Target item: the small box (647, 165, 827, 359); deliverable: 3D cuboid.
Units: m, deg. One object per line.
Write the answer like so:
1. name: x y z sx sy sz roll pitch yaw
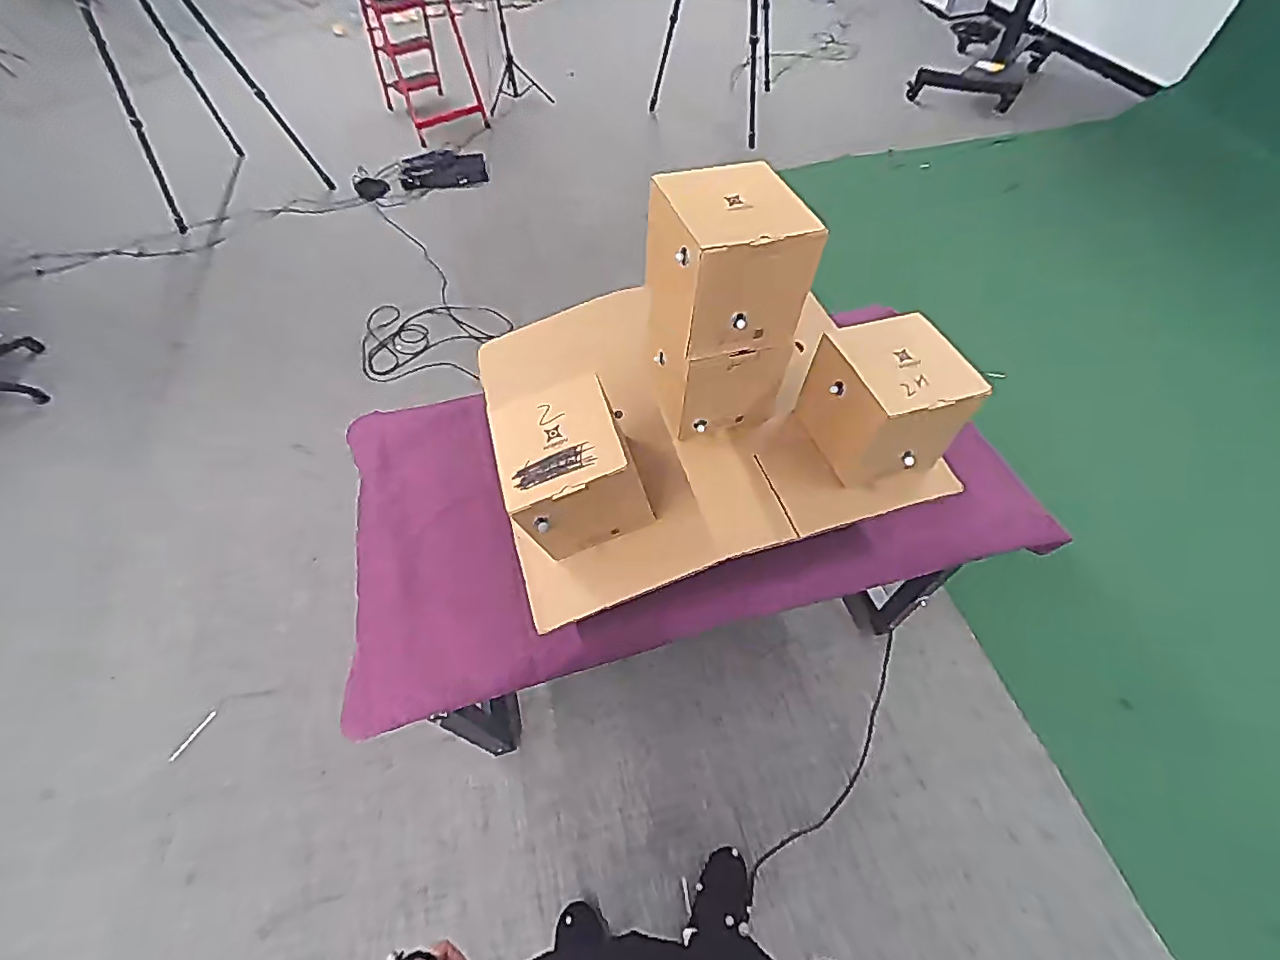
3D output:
1. small box: 0.114 -0.293 0.731 0.168 0.176 0.179 -15 58 -13

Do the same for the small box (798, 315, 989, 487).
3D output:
1. small box: 0.363 -0.117 0.817 0.168 0.176 0.179 -14 57 -11

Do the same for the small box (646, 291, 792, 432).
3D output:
1. small box: 0.113 -0.194 0.859 0.168 0.176 0.179 -14 56 -13
